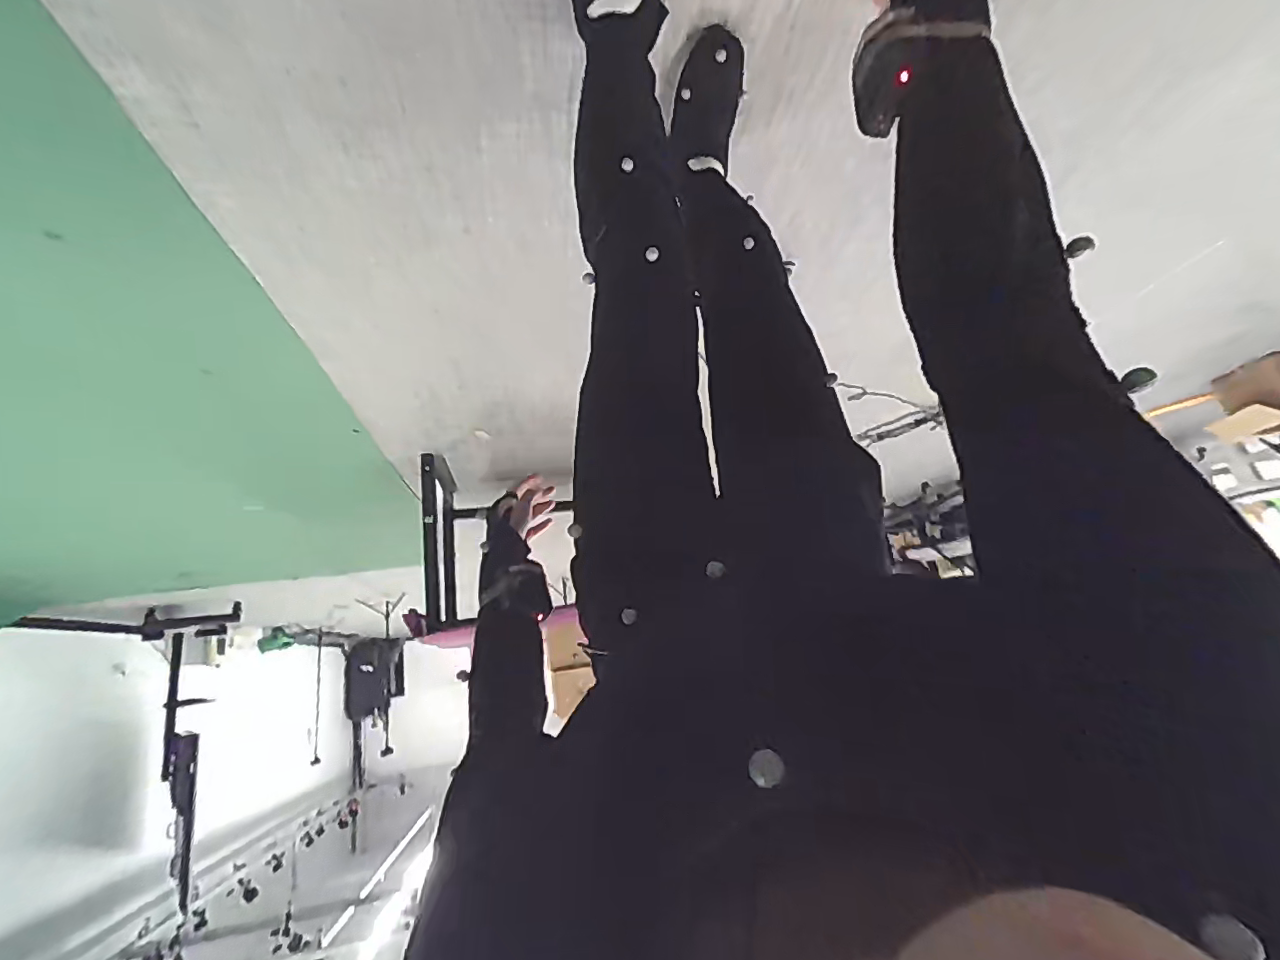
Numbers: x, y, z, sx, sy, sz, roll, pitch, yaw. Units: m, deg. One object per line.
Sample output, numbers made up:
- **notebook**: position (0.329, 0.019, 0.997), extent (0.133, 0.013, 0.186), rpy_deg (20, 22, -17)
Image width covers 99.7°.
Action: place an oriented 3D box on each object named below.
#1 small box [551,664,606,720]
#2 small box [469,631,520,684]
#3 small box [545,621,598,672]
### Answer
- **small box**: position (-0.239, 0.800, 2.063), extent (0.179, 0.176, 0.168), rpy_deg (-5, 163, -15)
- **small box**: position (-0.556, 0.671, 2.050), extent (0.168, 0.176, 0.179), rpy_deg (-3, 163, -19)
- **small box**: position (-0.274, 0.650, 2.119), extent (0.179, 0.176, 0.168), rpy_deg (-3, 163, -15)
